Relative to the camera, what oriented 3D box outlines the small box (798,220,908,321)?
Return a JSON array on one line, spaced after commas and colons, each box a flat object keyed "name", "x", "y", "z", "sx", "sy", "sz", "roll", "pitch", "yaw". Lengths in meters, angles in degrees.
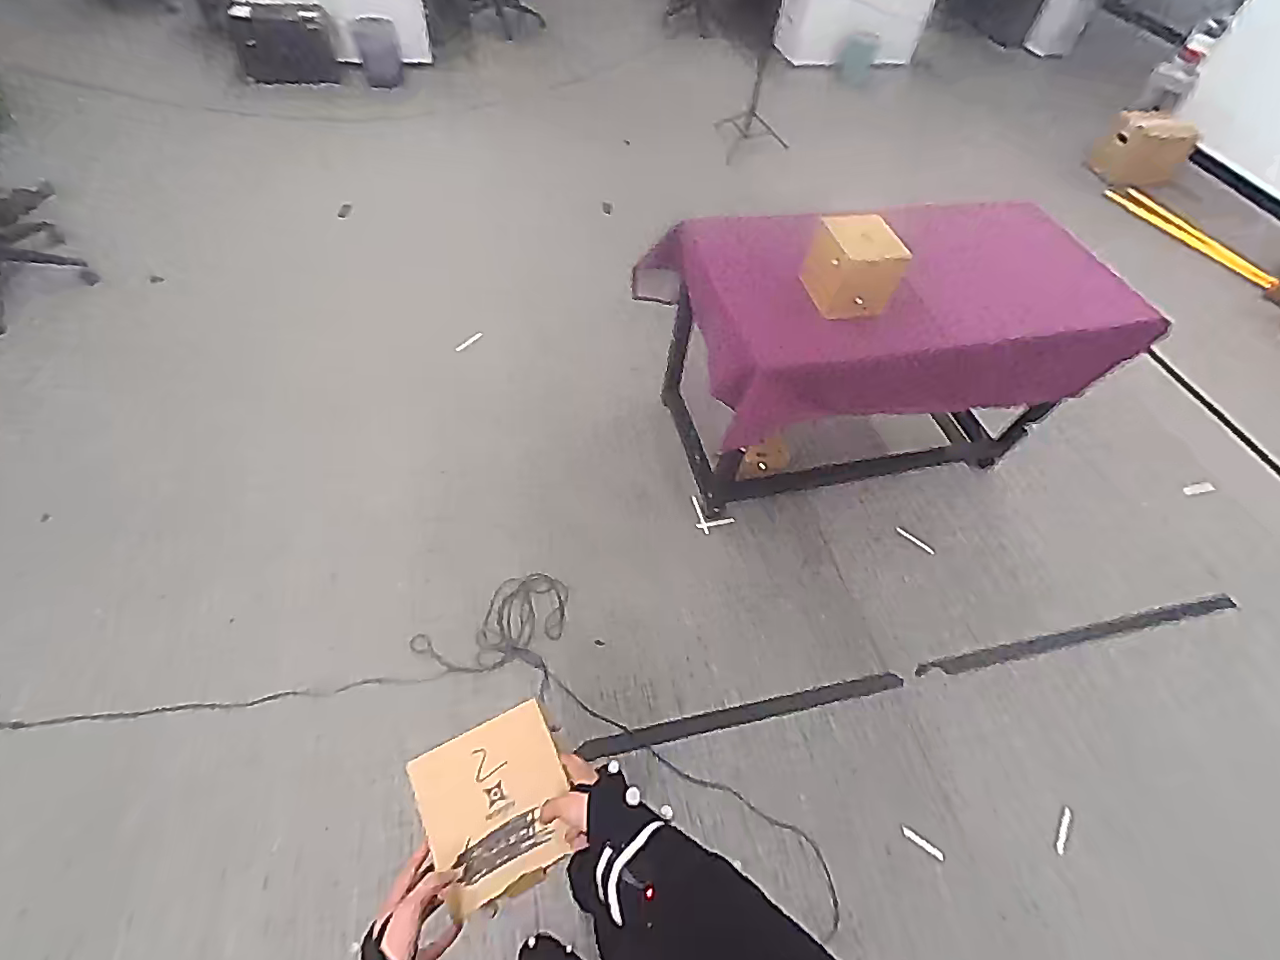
[{"name": "small box", "x": 0.521, "y": -0.522, "z": 1.353, "sx": 0.168, "sy": 0.176, "sz": 0.179, "roll": -9, "pitch": 58, "yaw": -12}]
